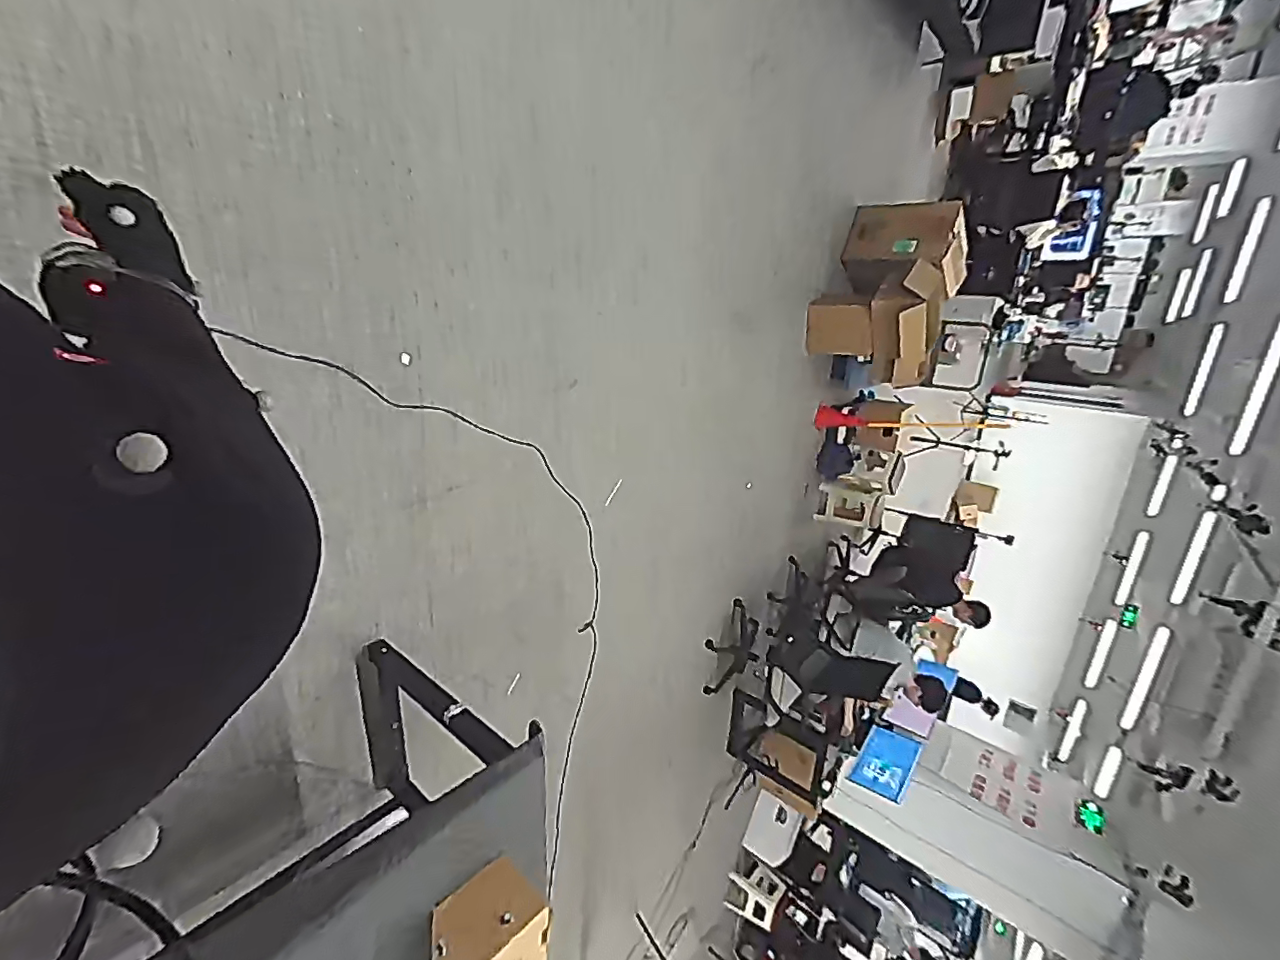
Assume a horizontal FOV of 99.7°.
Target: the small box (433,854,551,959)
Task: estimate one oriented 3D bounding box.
[{"bbox_3d":[-0.309,0.944,1.133,0.179,0.176,0.168,-12,112,-48],"label":"small box"}]
